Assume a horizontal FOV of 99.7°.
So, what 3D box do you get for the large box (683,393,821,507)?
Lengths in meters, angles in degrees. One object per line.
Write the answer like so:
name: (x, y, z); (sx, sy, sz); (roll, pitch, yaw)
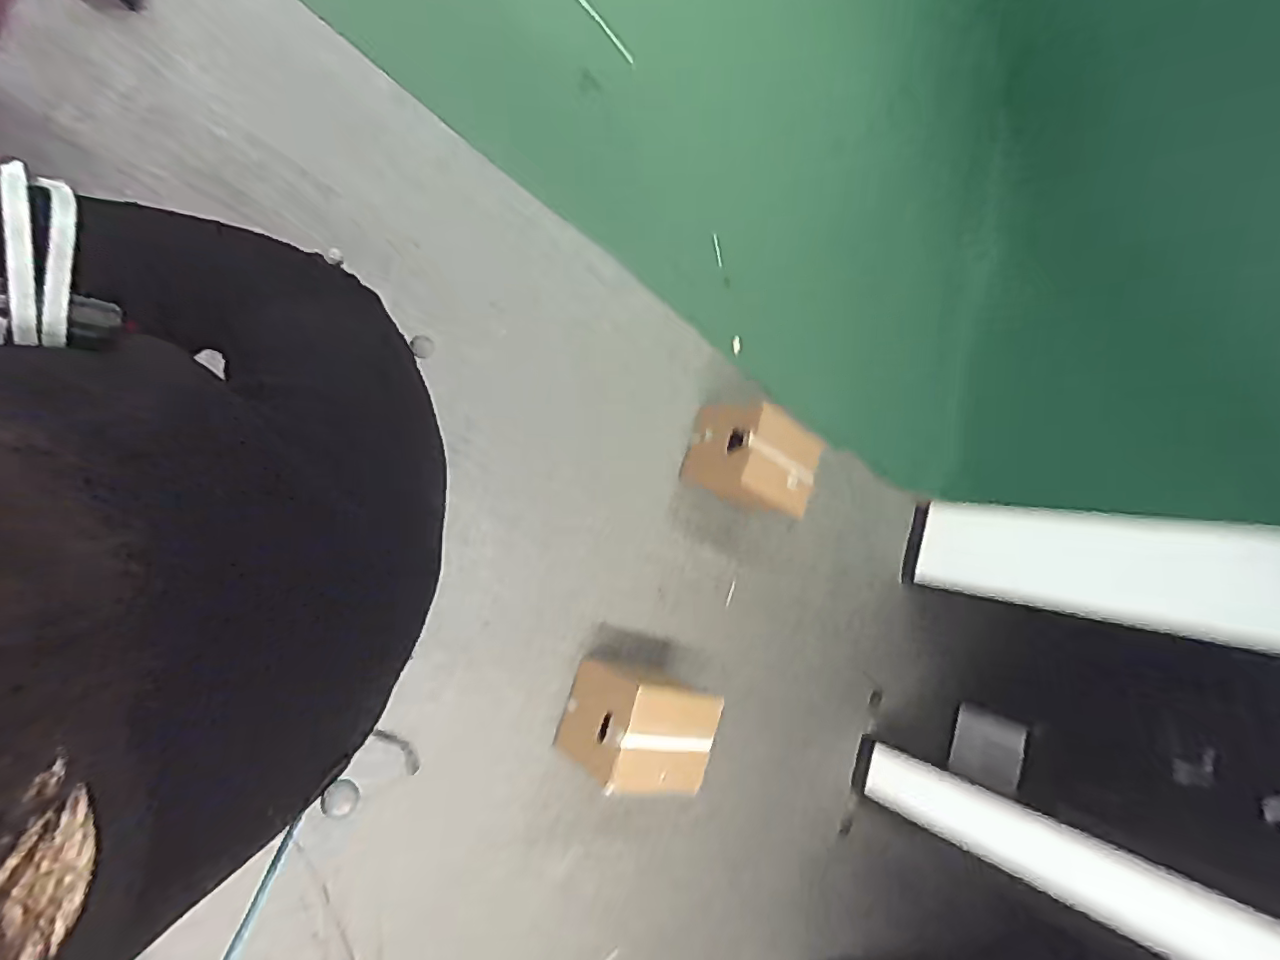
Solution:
large box: (0.435, -0.107, 2.096); (0.408, 0.320, 0.320); (25, 77, -38)
